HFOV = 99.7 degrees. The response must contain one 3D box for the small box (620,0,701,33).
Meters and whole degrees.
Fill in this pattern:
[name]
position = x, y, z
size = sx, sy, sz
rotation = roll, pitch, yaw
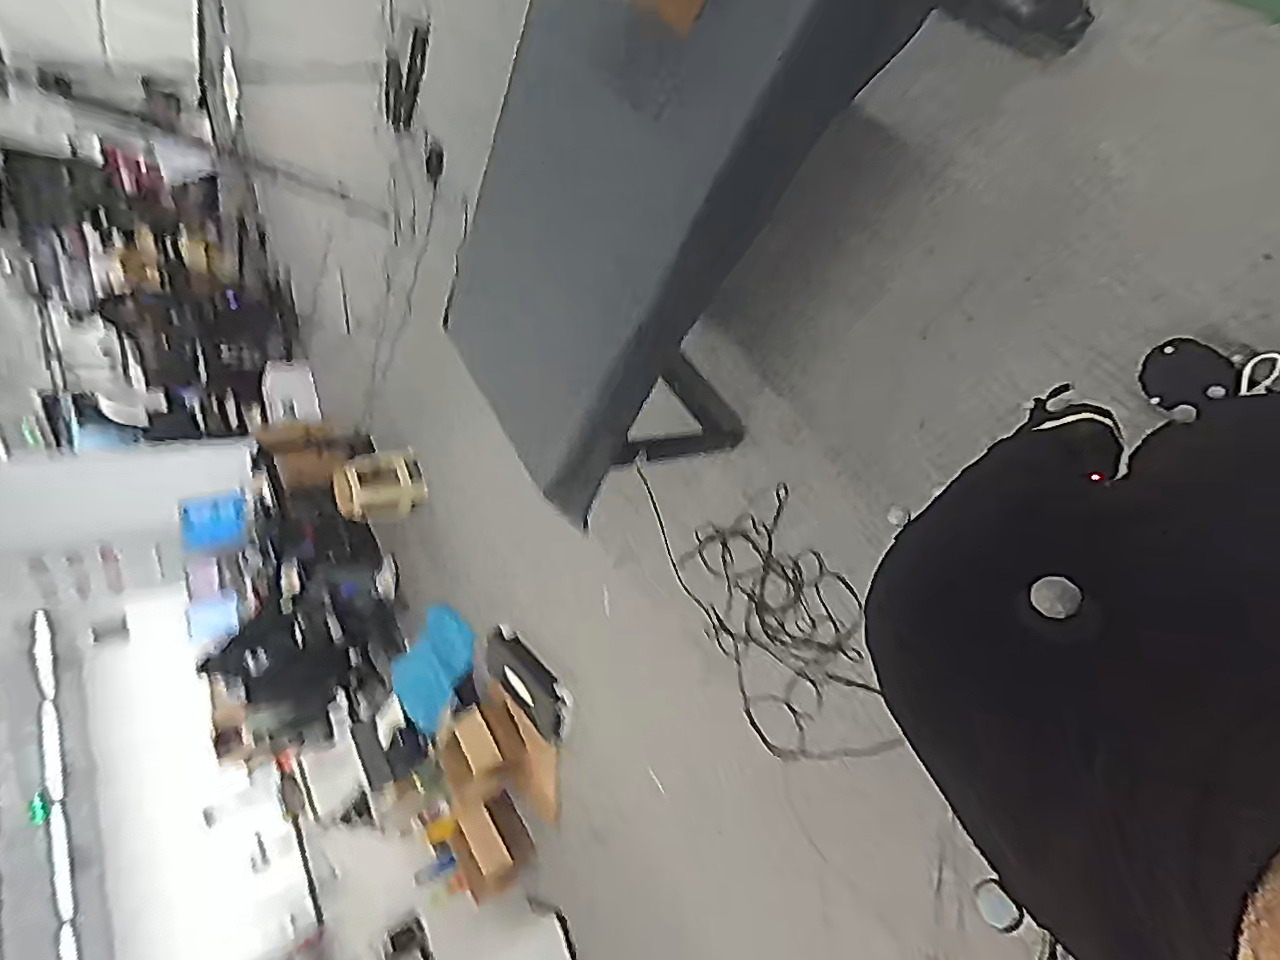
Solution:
[small box]
position = 0.003, -0.746, 0.723
size = 0.179, 0.176, 0.168
rotation = 55, 131, 26
